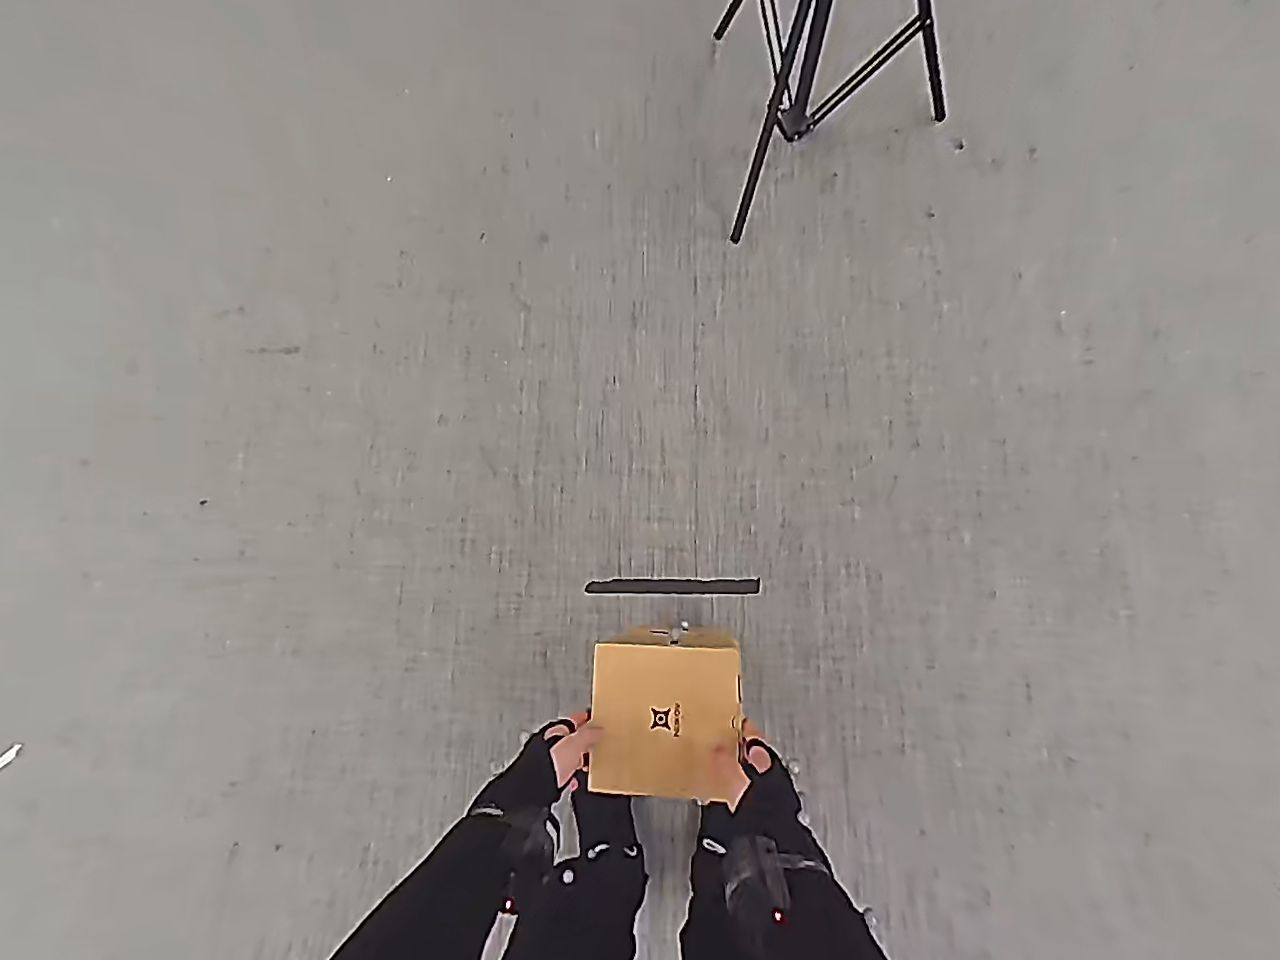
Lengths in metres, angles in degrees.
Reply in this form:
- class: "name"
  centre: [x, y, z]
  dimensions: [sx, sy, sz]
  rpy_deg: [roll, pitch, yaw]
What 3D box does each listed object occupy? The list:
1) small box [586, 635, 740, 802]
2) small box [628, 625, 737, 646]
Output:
- class: "small box"
  centre: [0.036, 0.292, 0.699]
  dimensions: [0.179, 0.176, 0.168]
  rpy_deg: [0, 78, 6]
- class: "small box"
  centre: [0.062, 0.330, 0.856]
  dimensions: [0.168, 0.176, 0.179]
  rpy_deg: [4, 77, 6]
